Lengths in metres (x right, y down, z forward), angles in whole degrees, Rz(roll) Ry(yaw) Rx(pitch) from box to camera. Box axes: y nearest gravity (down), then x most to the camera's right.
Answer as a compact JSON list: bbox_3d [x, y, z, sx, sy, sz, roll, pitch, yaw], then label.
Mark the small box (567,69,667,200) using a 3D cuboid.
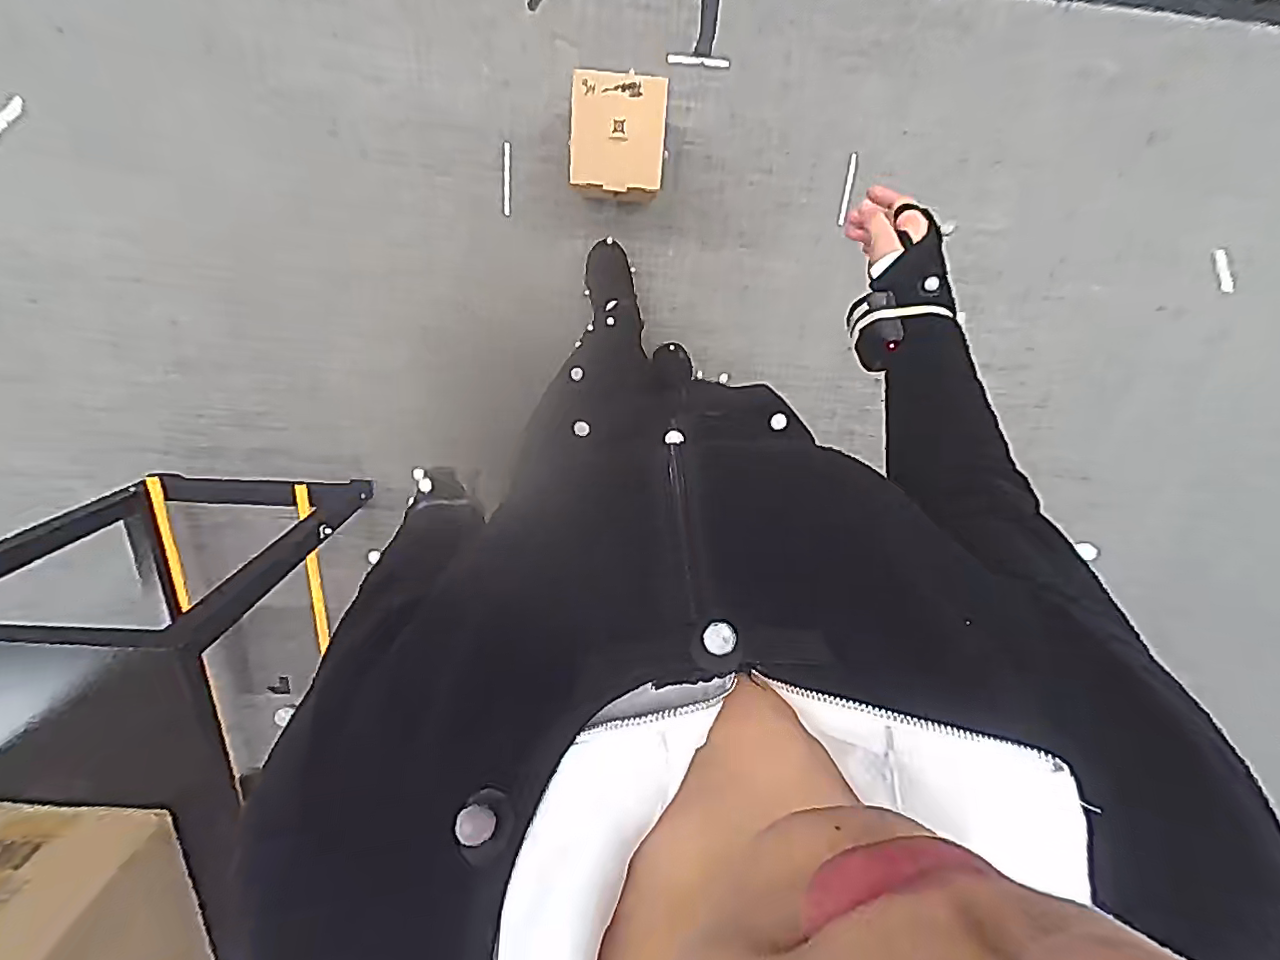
[{"bbox_3d":[-0.043,-0.635,1.016,0.168,0.176,0.179,4,112,-3],"label":"small box"}]
